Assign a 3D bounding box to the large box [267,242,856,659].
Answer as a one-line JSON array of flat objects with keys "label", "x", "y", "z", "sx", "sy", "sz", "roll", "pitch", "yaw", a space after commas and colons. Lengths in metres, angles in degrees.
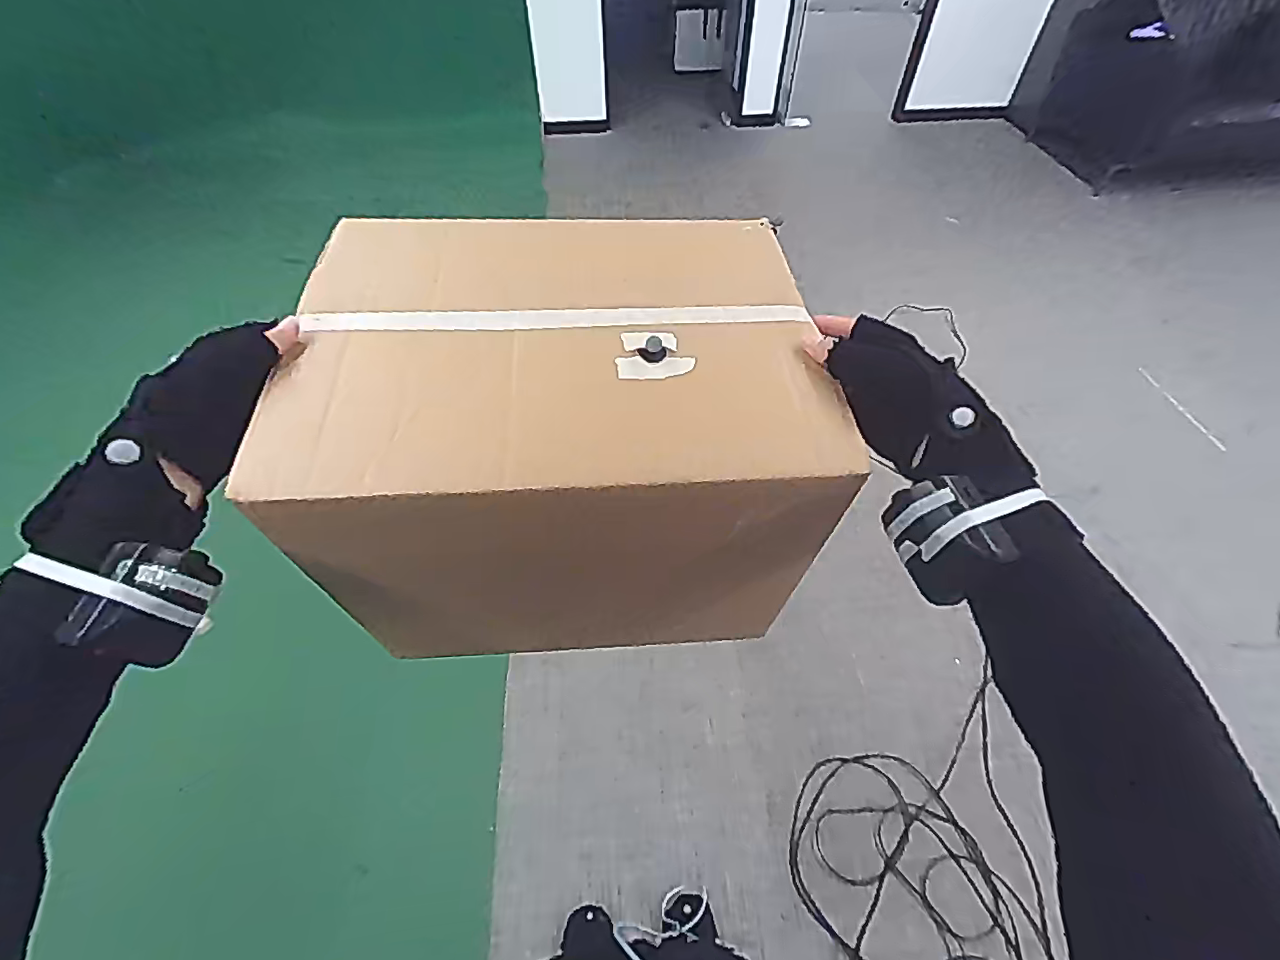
[{"label": "large box", "x": -0.065, "y": -0.025, "z": 0.567, "sx": 0.408, "sy": 0.320, "sz": 0.320, "roll": -1, "pitch": 54, "yaw": -6}]
